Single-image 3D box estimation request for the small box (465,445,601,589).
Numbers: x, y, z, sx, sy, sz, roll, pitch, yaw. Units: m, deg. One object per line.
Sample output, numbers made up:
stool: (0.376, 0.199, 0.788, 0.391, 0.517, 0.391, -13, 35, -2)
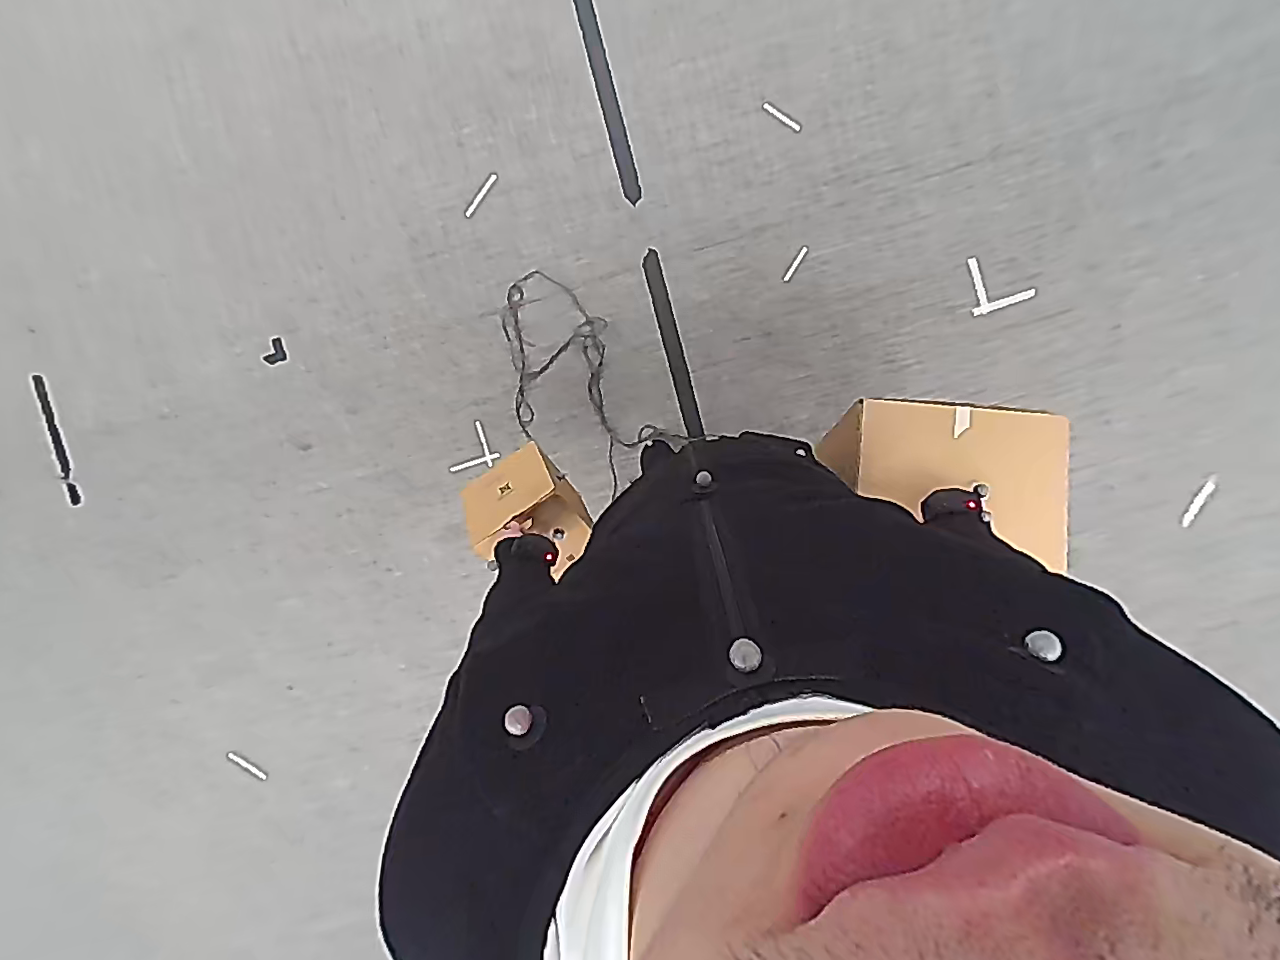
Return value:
small box: (-0.194, 0.074, 0.989, 0.168, 0.179, 0.176, -34, 128, -1)
